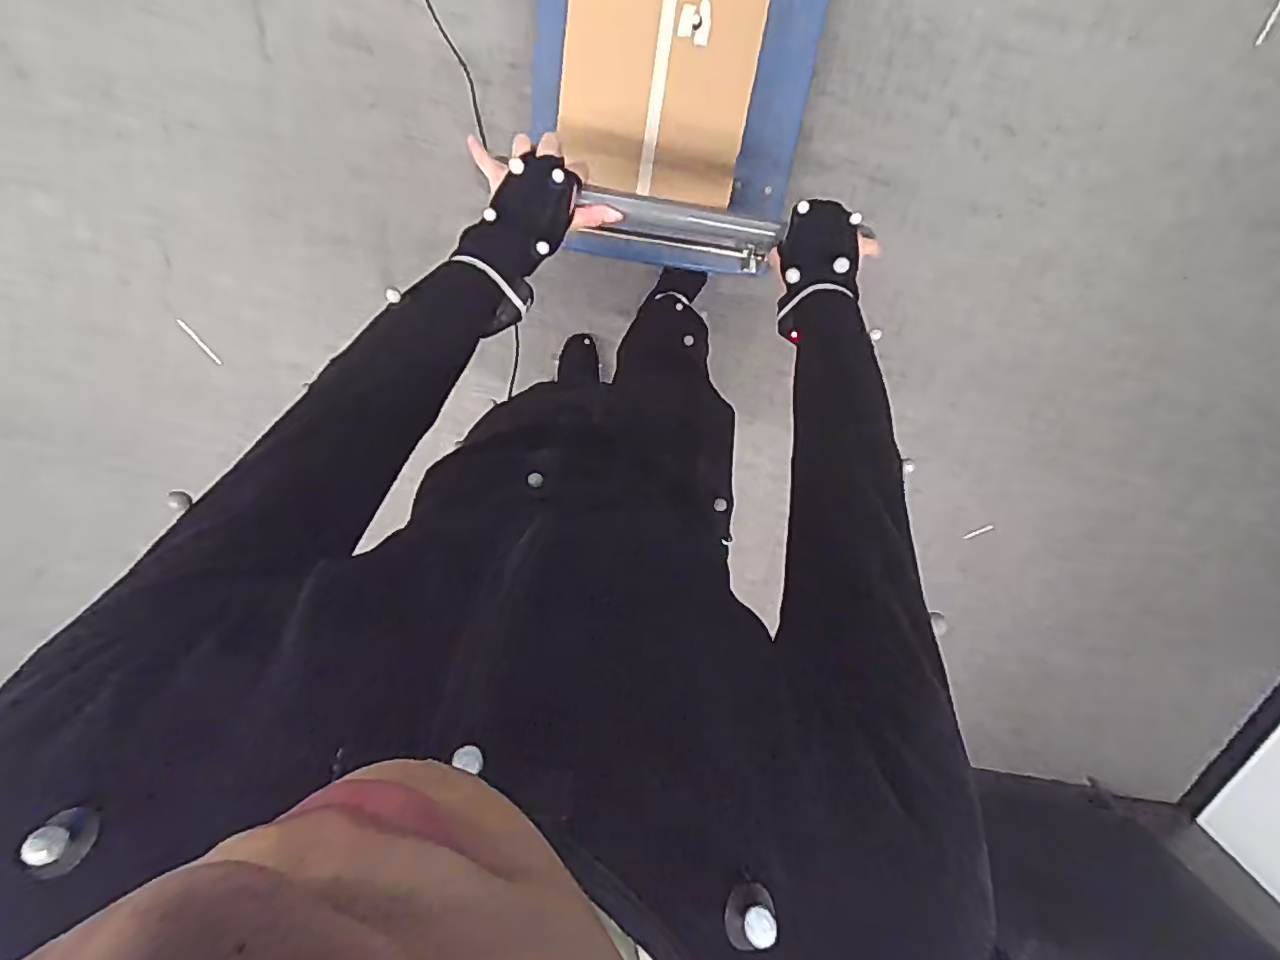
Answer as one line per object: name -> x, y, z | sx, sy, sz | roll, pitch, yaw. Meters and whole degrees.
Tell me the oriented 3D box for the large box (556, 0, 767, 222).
large box -> 0.031, -0.735, 1.019 | 0.320, 0.320, 0.408 | 8, 112, -5
